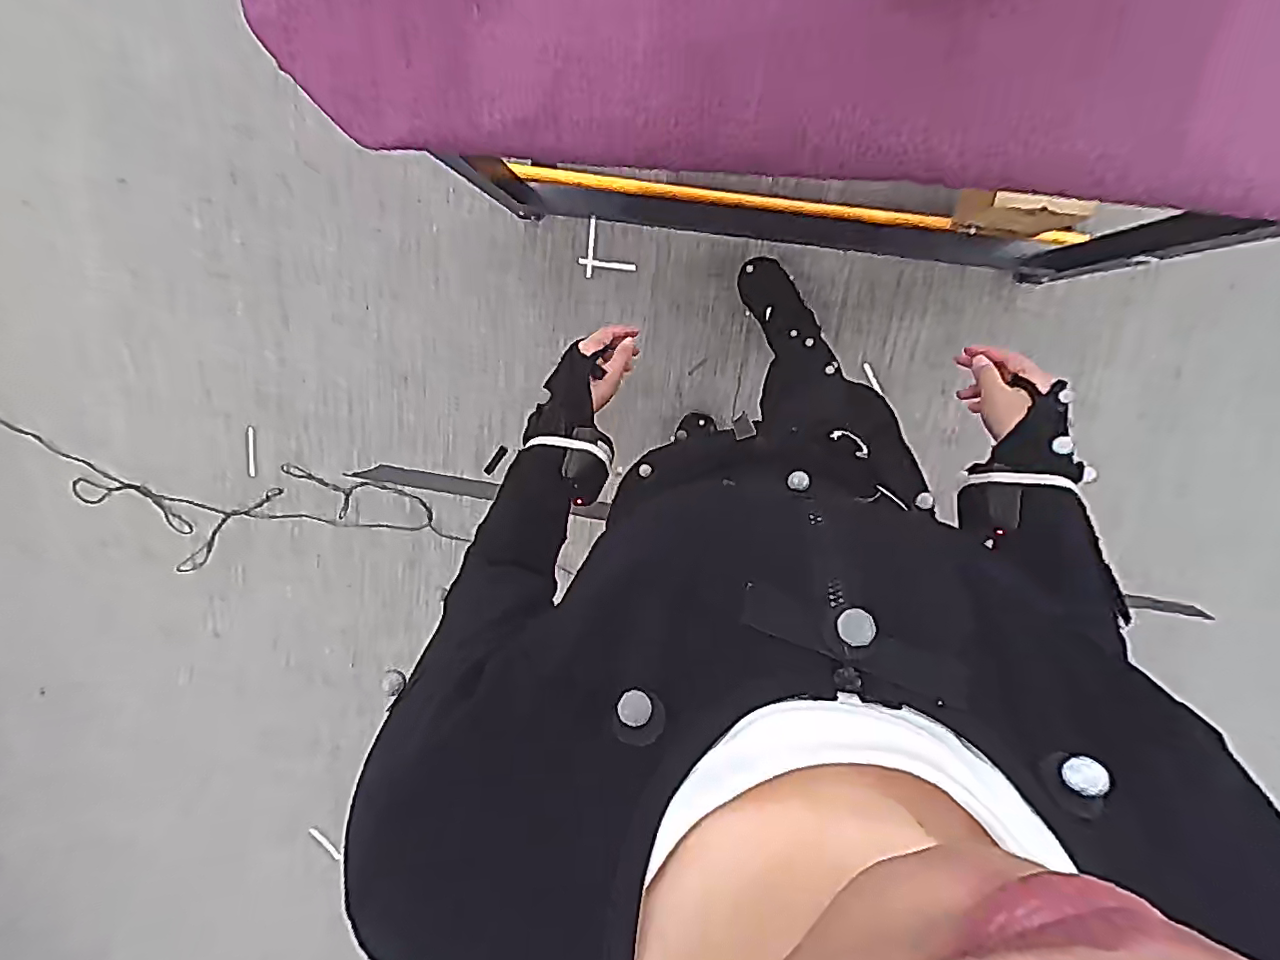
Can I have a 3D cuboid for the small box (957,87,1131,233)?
[{"bbox_3d":[0.697,-0.553,0.960,0.168,0.176,0.179,10,104,4],"label":"small box"}]
